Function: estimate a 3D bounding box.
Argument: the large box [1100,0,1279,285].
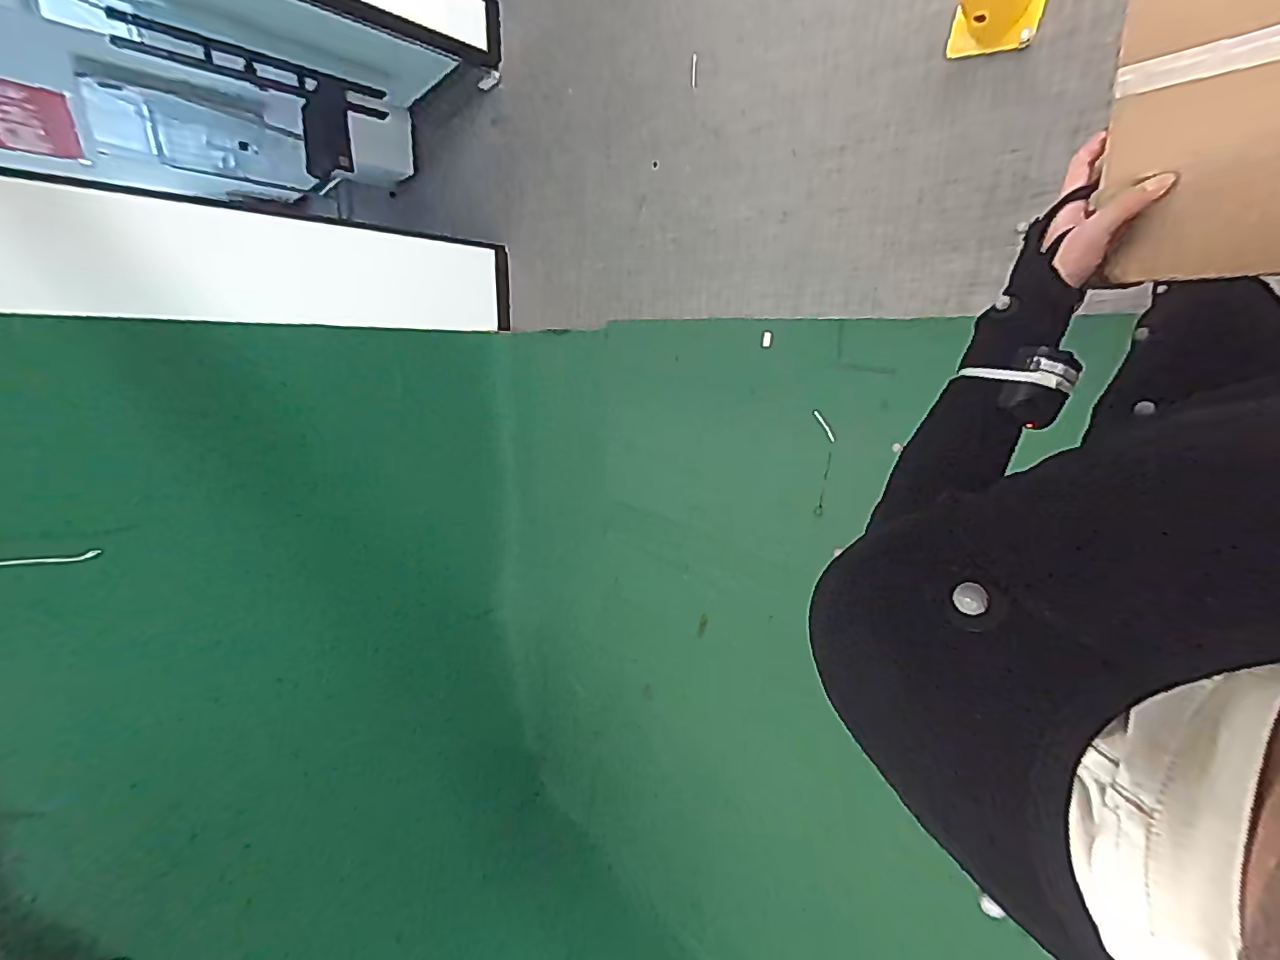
[{"bbox_3d":[0.643,-0.338,0.396,0.408,0.320,0.320,15,121,46],"label":"large box"}]
